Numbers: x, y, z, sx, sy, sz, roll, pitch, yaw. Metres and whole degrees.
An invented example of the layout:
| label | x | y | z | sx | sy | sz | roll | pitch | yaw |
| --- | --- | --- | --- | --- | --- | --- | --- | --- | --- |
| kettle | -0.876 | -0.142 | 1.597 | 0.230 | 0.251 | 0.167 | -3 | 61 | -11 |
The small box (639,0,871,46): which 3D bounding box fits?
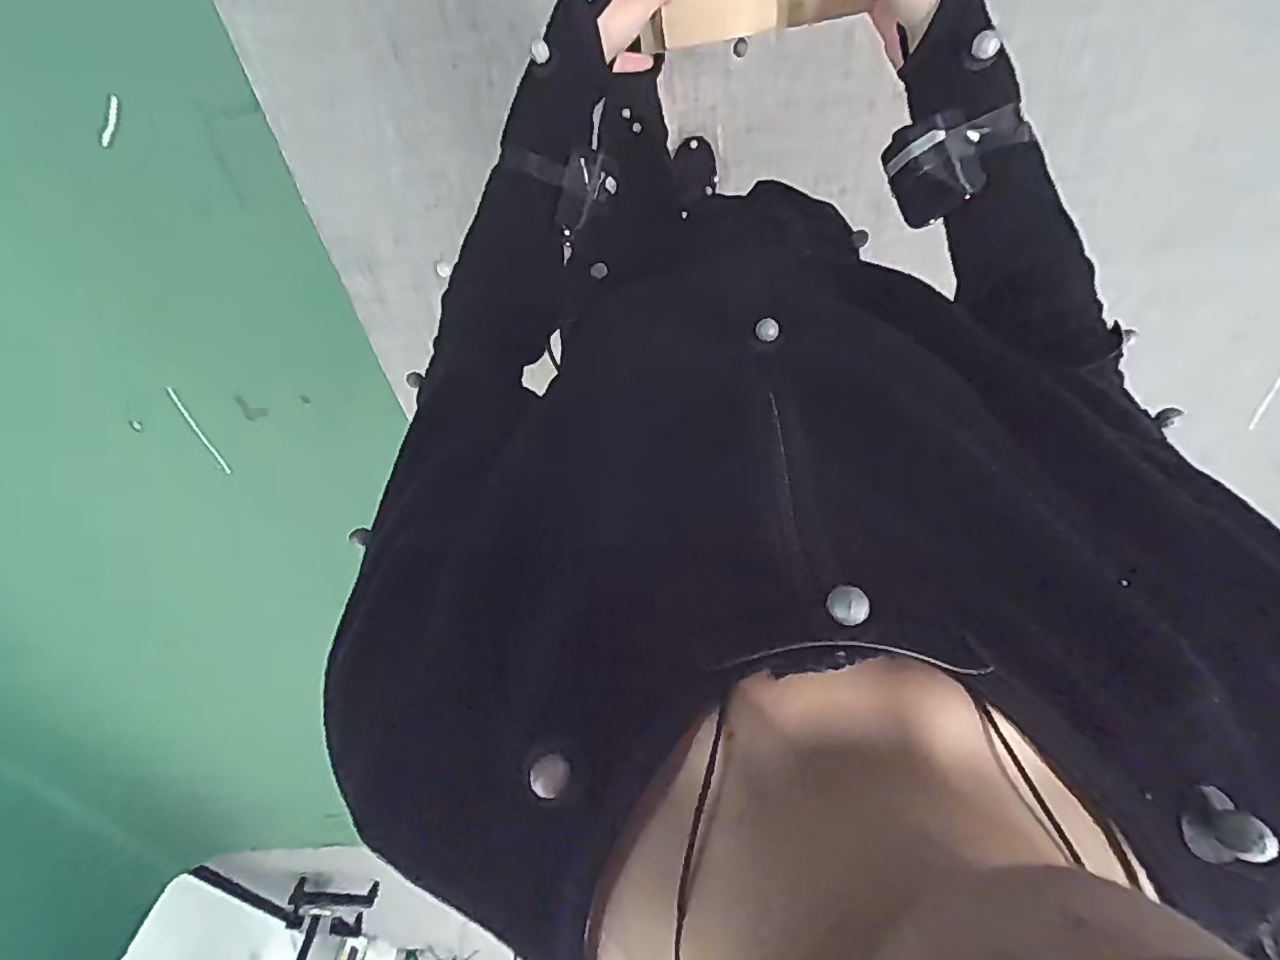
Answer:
| label | x | y | z | sx | sy | sz | roll | pitch | yaw |
| --- | --- | --- | --- | --- | --- | --- | --- | --- | --- |
| small box | 0.083 | -0.476 | 0.446 | 0.179 | 0.176 | 0.168 | -10 | 128 | 1 |
